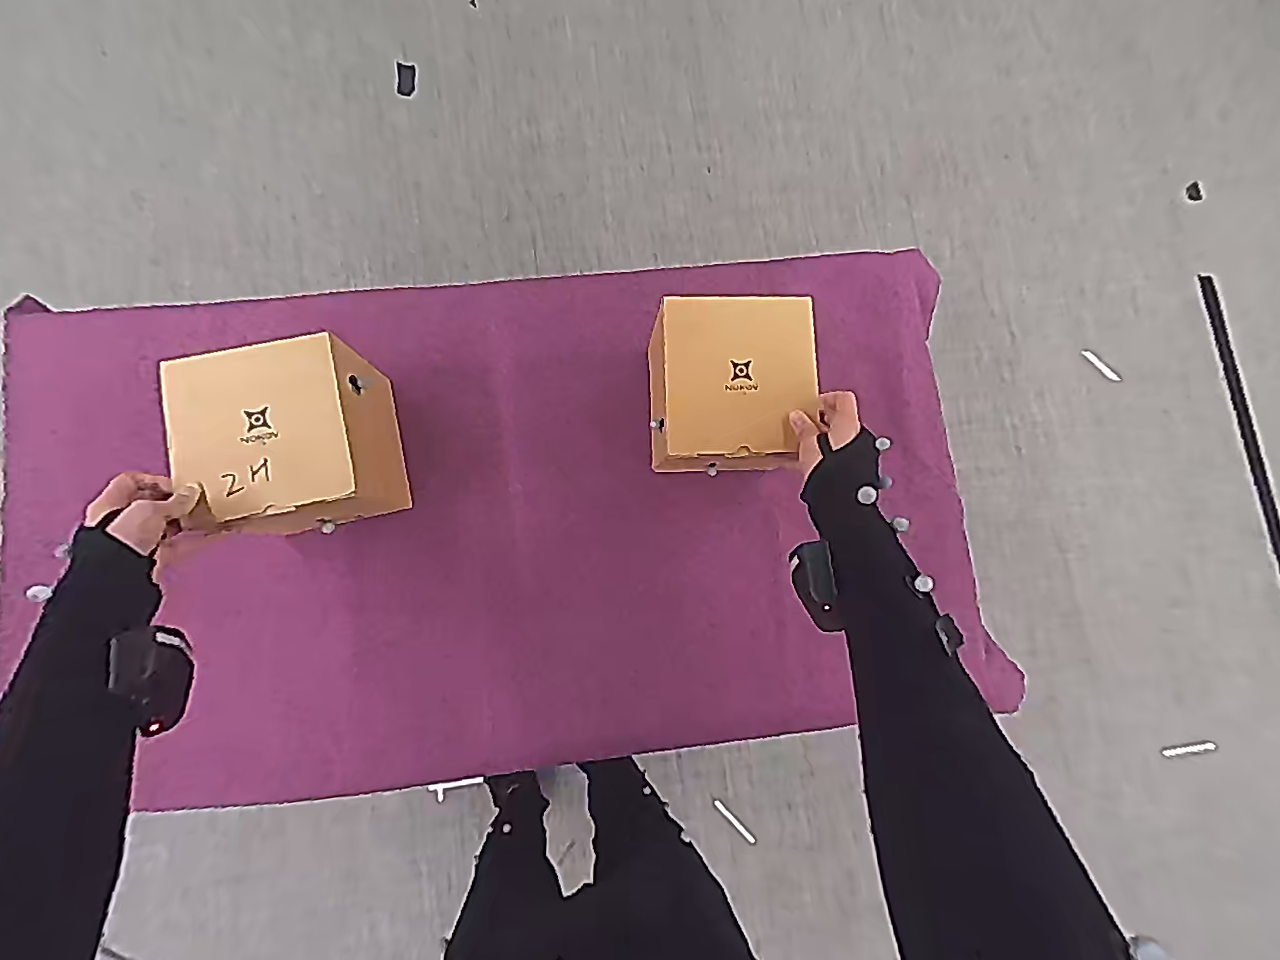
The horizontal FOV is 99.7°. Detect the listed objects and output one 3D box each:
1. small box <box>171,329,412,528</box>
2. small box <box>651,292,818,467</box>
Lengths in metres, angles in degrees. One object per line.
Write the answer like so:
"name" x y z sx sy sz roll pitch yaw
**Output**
"small box" -0.382 -0.048 0.621 0.168 0.176 0.179 -12 84 -5
"small box" 0.103 -0.112 0.662 0.168 0.176 0.179 -2 86 -4
